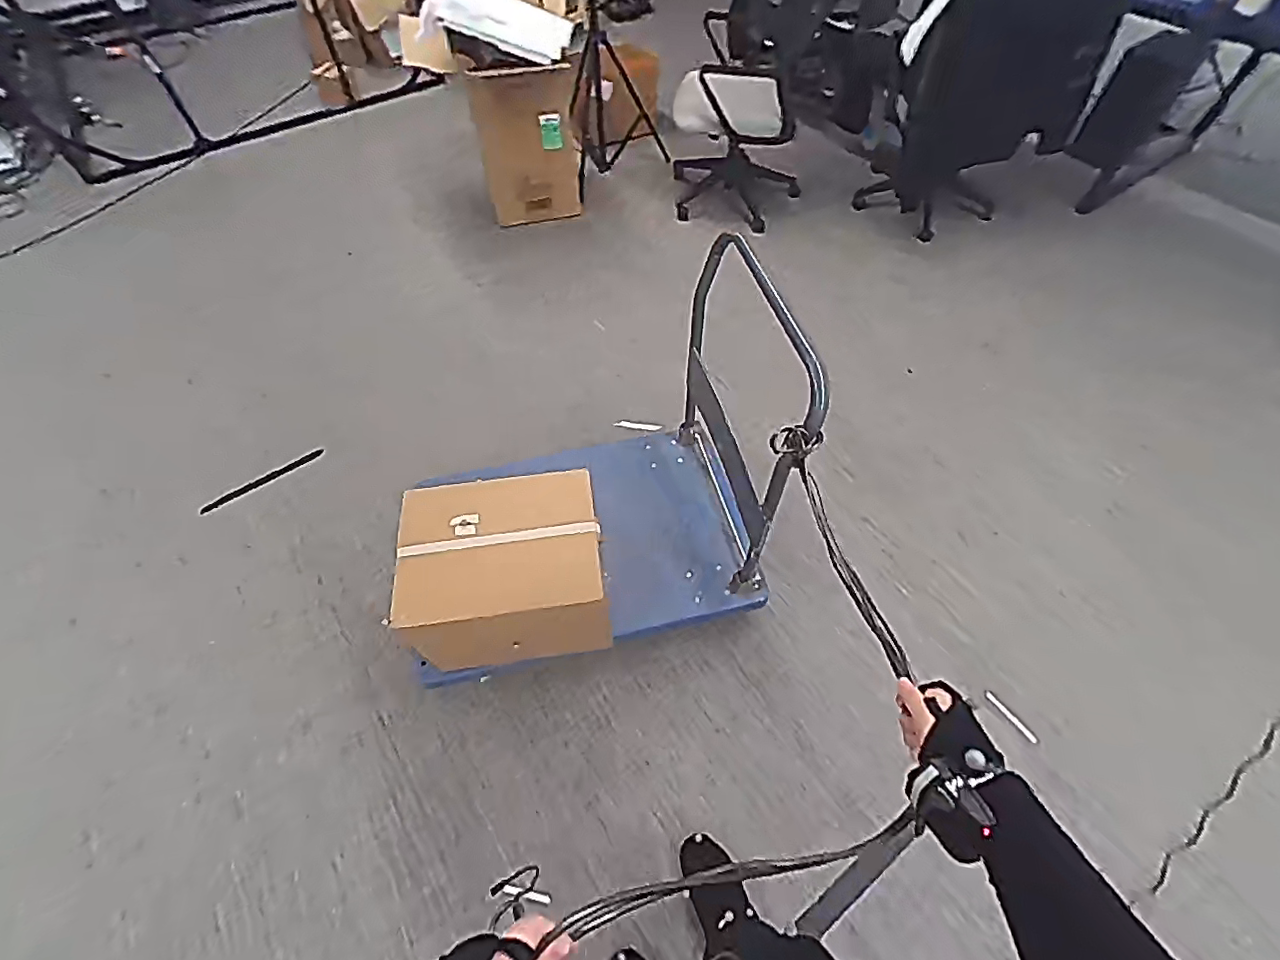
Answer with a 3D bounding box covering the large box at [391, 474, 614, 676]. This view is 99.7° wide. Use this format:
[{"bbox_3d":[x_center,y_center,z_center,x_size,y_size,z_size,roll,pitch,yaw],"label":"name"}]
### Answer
[{"bbox_3d":[-0.283,0.221,1.215,0.408,0.320,0.320,-8,55,-3],"label":"large box"}]
